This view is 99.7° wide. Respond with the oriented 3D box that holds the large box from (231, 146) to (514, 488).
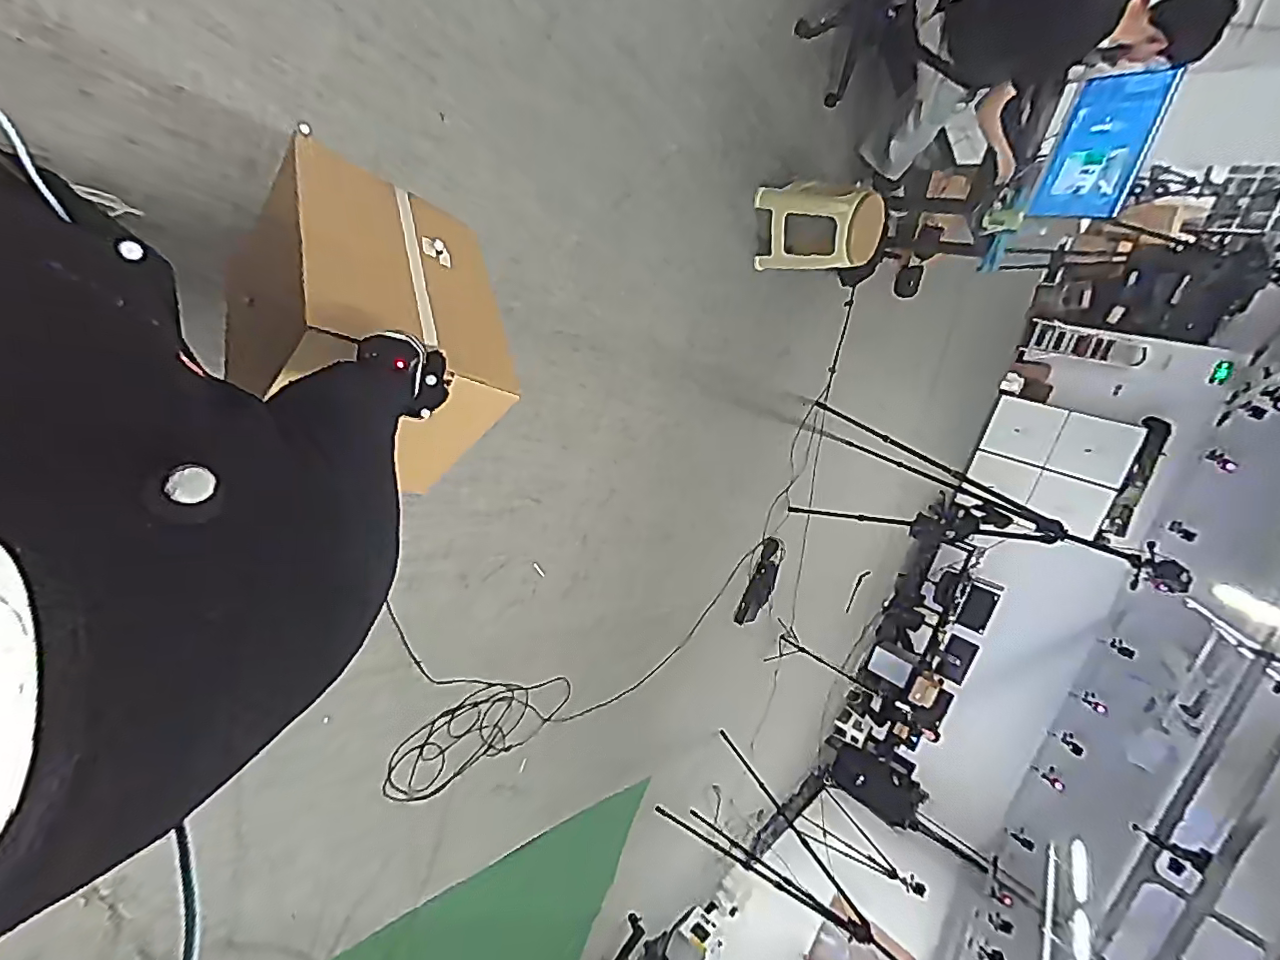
[{"bbox_3d":[-0.467,-0.241,0.917,0.320,0.408,0.320,-37,150,29],"label":"large box"}]
